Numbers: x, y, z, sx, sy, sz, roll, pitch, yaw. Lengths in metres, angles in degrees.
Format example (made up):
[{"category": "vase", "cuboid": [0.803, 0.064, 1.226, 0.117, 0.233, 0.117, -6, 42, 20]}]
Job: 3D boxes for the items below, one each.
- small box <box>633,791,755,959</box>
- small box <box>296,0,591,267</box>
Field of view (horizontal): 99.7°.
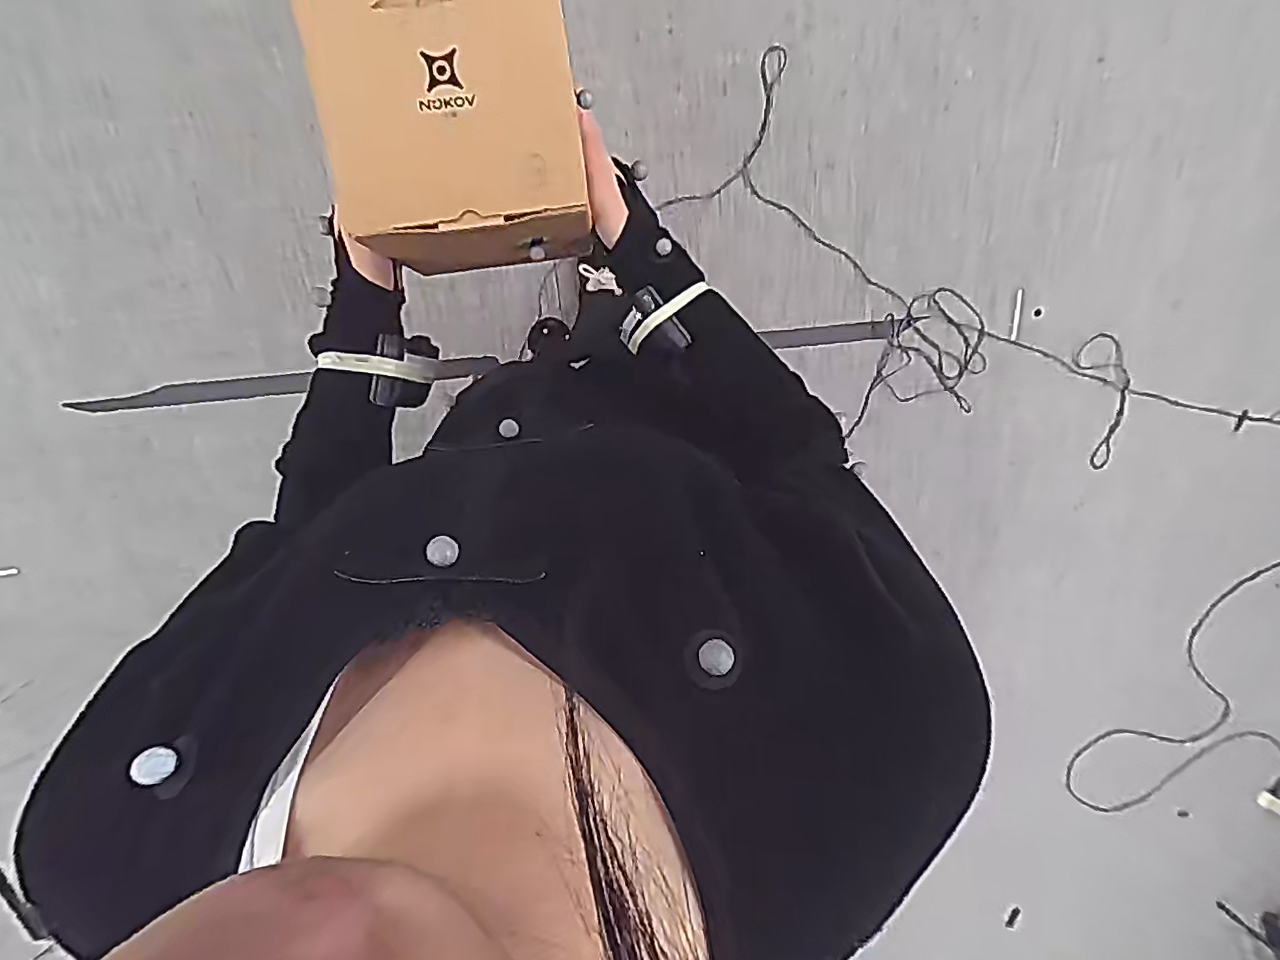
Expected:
[{"category": "small box", "cuboid": [0.087, 0.665, 0.923, 0.168, 0.176, 0.179, -11, 111, -3]}, {"category": "small box", "cuboid": [-0.130, -0.274, 0.424, 0.168, 0.176, 0.179, -9, 102, -4]}]
